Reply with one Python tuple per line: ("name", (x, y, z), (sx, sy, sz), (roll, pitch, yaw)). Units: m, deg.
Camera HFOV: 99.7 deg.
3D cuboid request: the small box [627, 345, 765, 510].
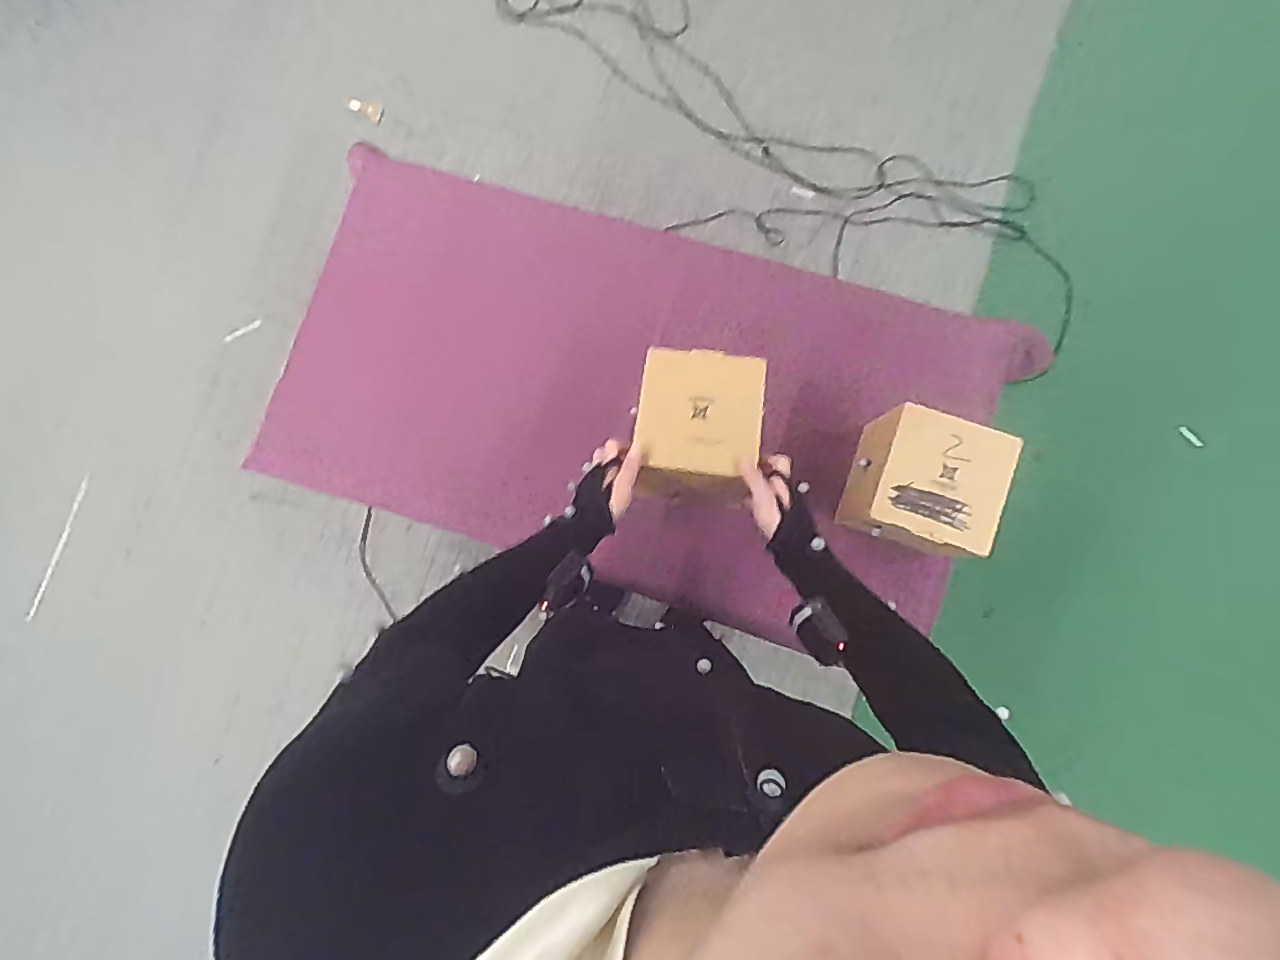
("small box", (0.077, -0.069, 0.787), (0.168, 0.176, 0.179), (8, 74, 4))
